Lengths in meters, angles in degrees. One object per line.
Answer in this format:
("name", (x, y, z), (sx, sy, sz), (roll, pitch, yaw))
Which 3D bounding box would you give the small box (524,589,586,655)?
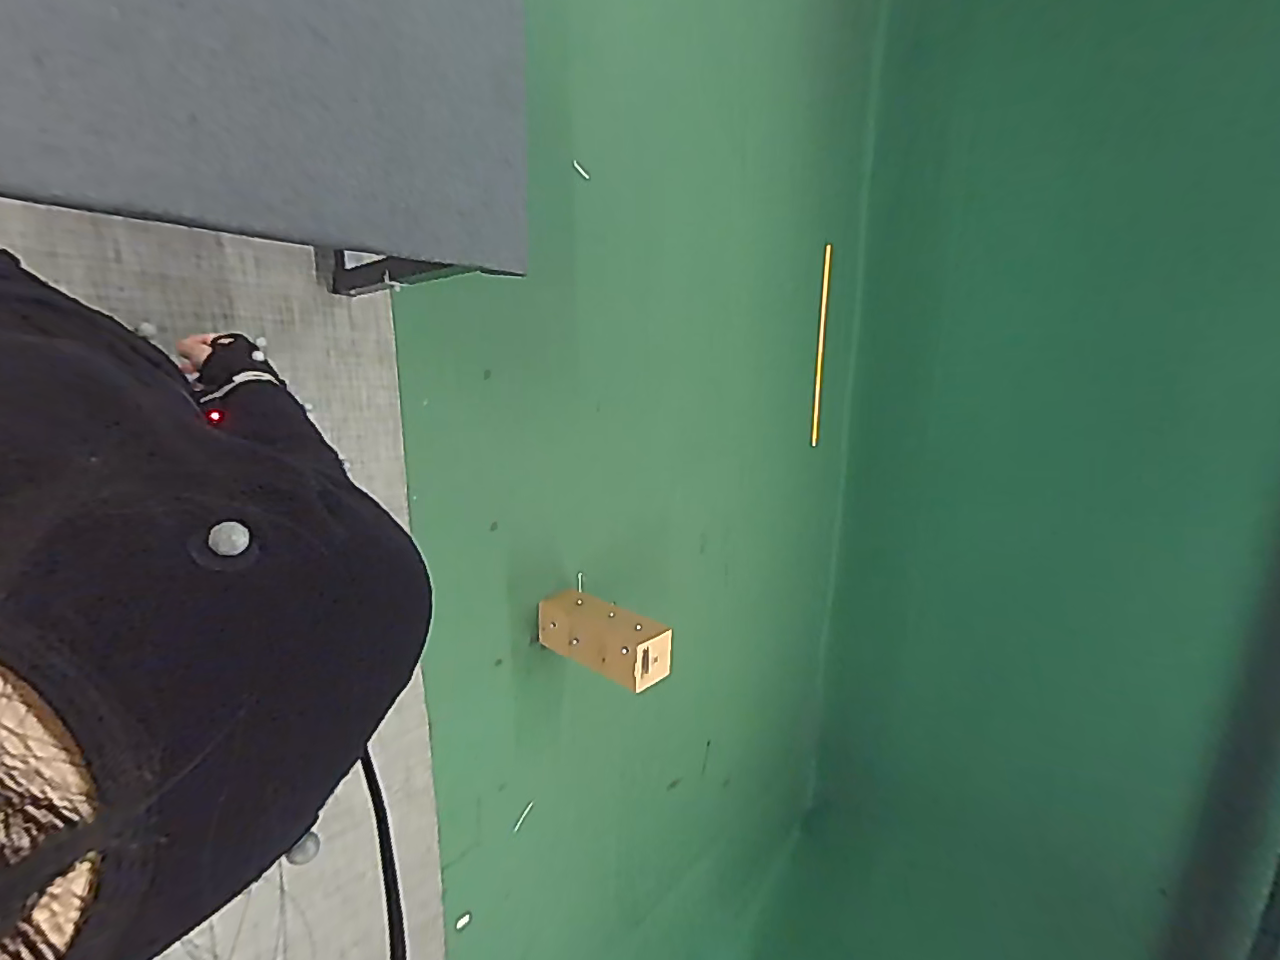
("small box", (-0.319, 0.525, 2.017), (0.179, 0.176, 0.168), (-11, 107, -49))

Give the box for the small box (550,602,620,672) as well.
("small box", (-0.194, 0.547, 1.912), (0.179, 0.176, 0.168), (-7, 104, -49))
